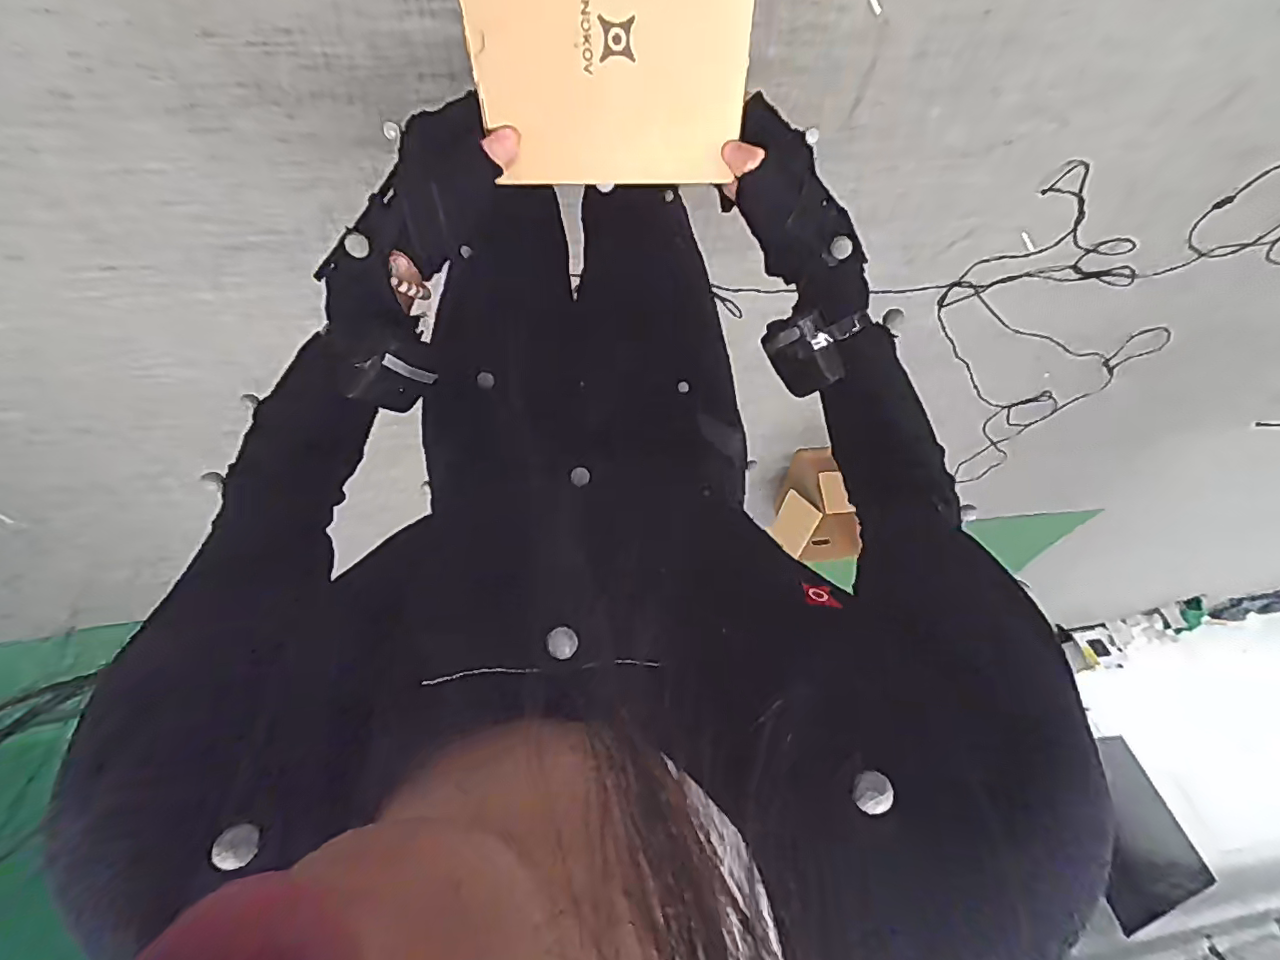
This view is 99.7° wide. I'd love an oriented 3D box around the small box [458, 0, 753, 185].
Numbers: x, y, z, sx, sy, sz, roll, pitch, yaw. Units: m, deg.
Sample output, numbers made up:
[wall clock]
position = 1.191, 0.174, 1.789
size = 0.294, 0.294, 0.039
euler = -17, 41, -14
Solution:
[small box]
position = -0.022, -0.327, 0.383
size = 0.179, 0.176, 0.168
euler = 0, 137, 0
